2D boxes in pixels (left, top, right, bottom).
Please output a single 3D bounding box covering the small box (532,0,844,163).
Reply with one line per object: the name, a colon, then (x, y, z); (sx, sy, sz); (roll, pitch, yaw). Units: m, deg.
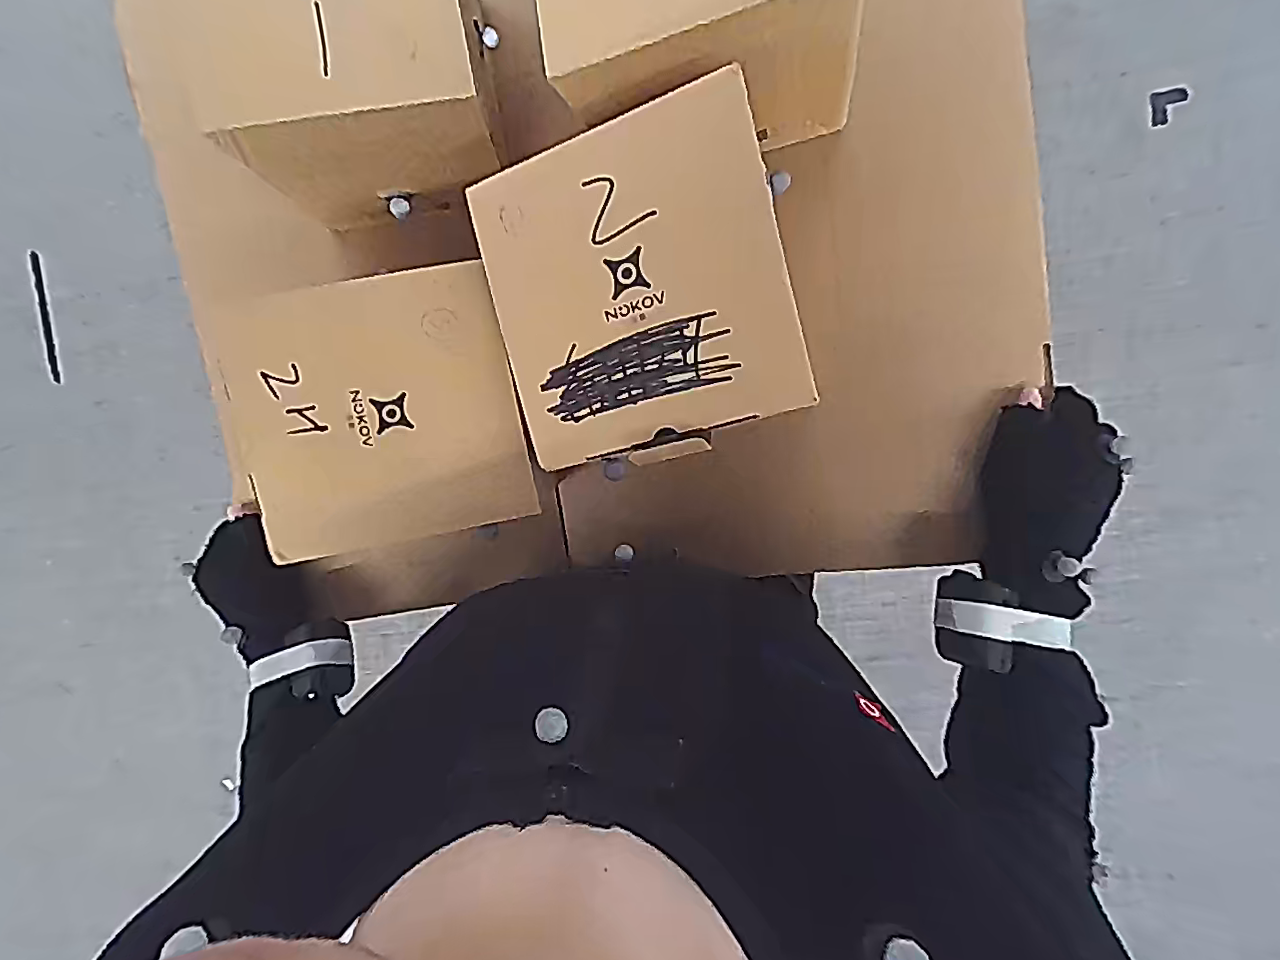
small box: (0.036, -0.331, 0.341); (0.168, 0.176, 0.179); (-6, 95, 18)
